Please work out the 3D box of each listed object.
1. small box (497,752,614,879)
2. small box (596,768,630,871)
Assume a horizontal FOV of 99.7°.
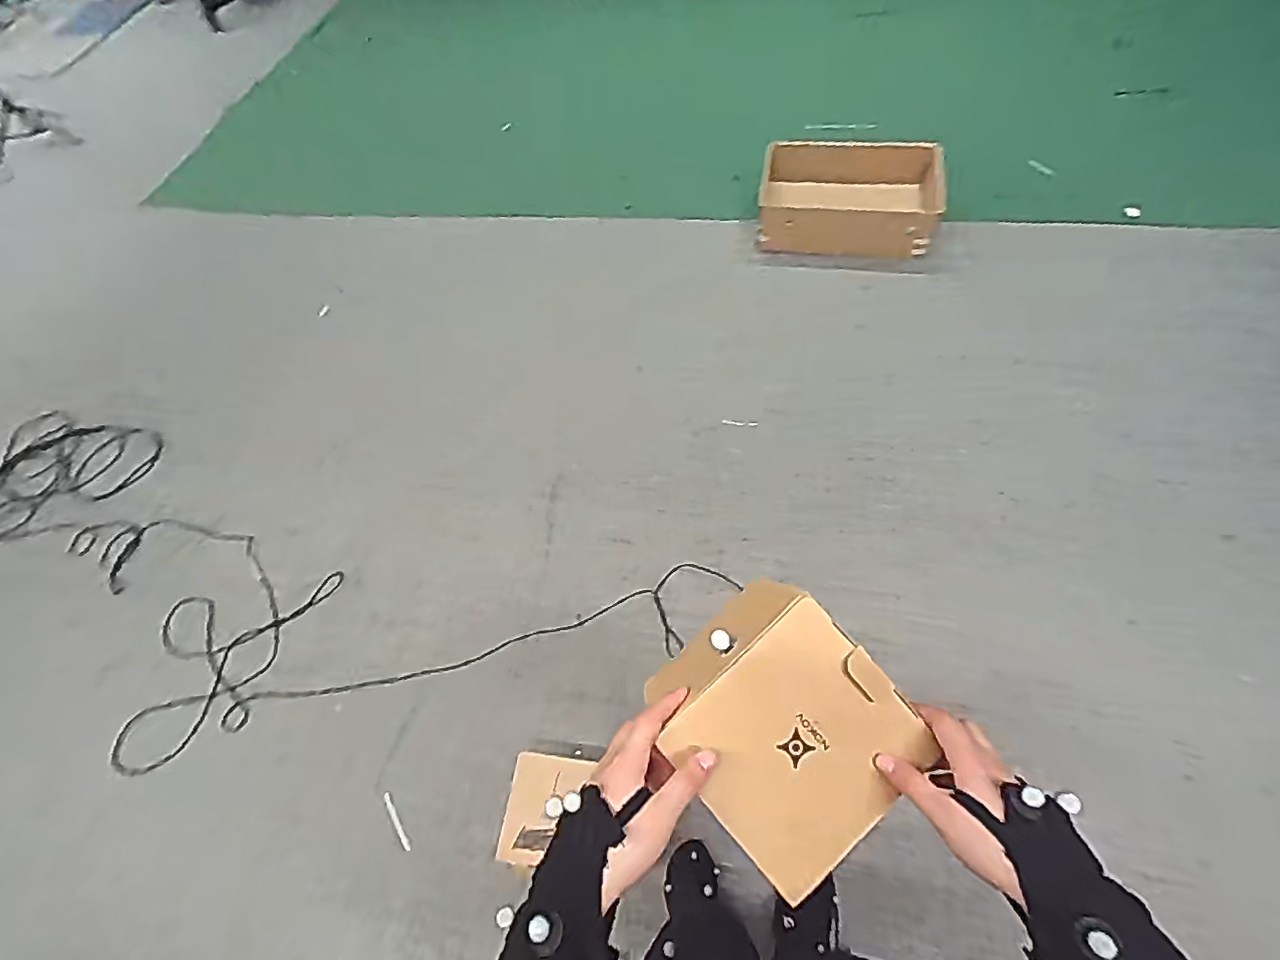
[{"bbox_3d":[-0.150,0.636,1.038,0.168,0.176,0.179,4,60,9],"label":"small box"},{"bbox_3d":[-0.117,0.722,1.175,0.168,0.176,0.179,3,61,9],"label":"small box"}]
